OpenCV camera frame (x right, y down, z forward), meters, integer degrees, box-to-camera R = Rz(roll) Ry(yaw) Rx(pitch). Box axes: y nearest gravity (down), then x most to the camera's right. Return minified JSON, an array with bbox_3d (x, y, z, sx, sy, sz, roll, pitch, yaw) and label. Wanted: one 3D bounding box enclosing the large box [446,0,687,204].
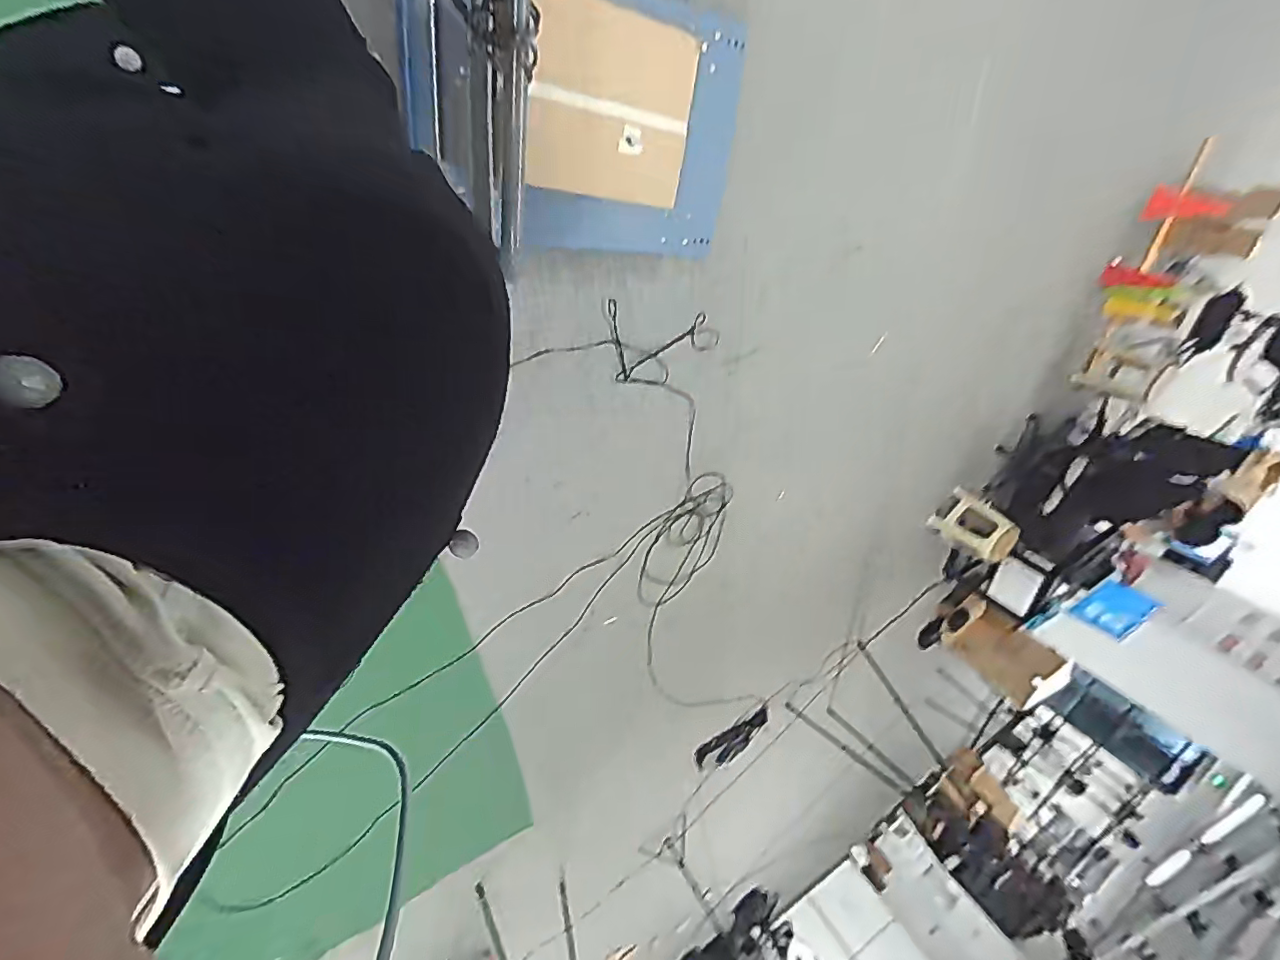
[{"bbox_3d":[-0.170,-0.801,1.160,0.408,0.320,0.320,-9,123,-33],"label":"large box"}]
